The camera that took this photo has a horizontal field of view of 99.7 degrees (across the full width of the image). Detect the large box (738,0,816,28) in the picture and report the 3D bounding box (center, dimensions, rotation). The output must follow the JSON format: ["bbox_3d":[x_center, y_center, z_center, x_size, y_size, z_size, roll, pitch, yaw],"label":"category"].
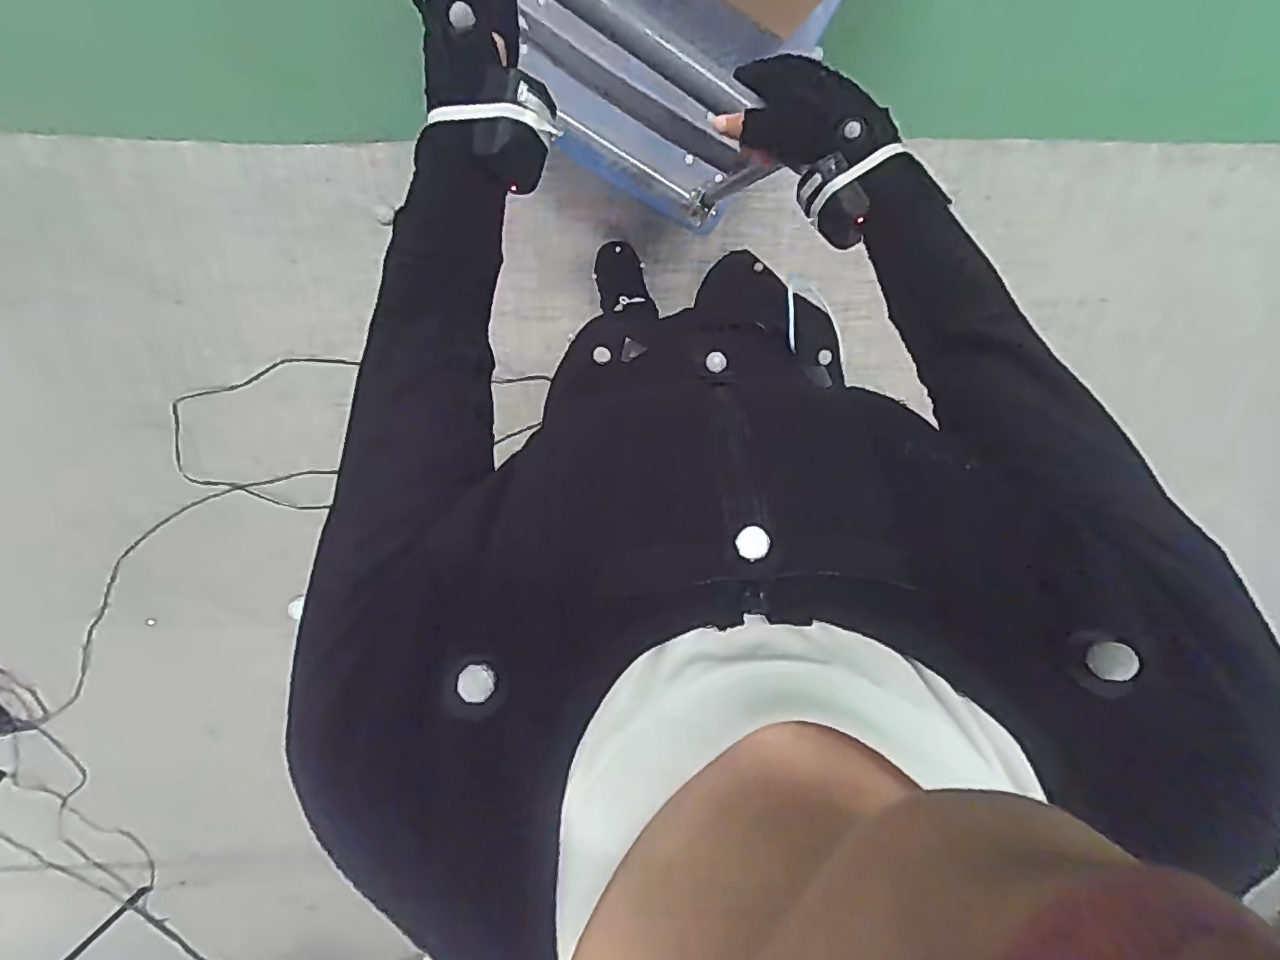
[{"bbox_3d":[0.160,-0.953,0.761,0.408,0.320,0.320,23,112,-12],"label":"large box"}]
